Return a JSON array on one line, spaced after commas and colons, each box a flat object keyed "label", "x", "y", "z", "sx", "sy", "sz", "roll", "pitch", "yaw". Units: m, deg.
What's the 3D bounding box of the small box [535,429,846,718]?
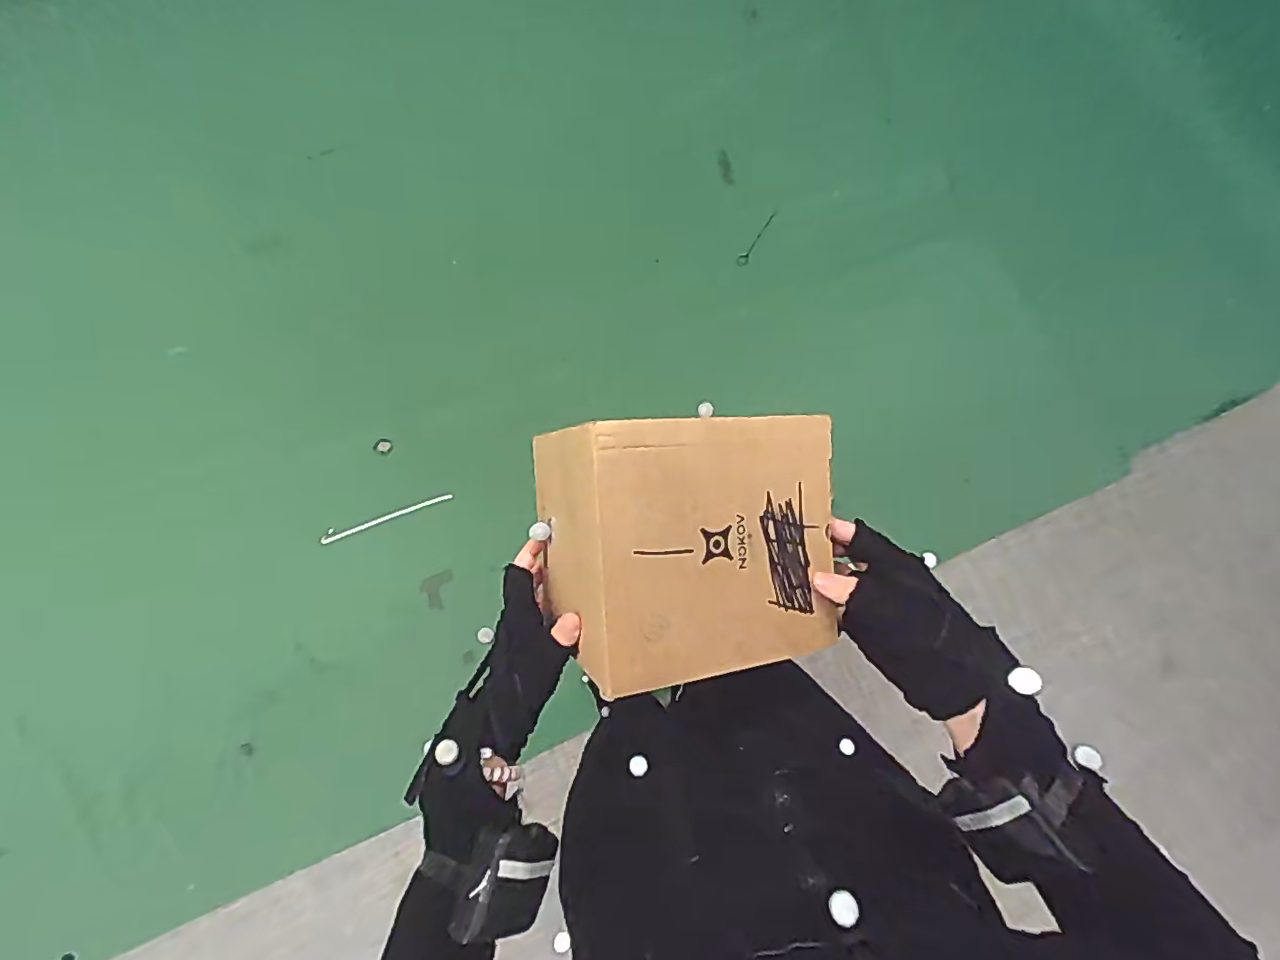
[{"label": "small box", "x": 0.027, "y": 0.048, "z": 0.409, "sx": 0.179, "sy": 0.176, "sz": 0.168, "roll": -4, "pitch": 92, "yaw": -22}]
